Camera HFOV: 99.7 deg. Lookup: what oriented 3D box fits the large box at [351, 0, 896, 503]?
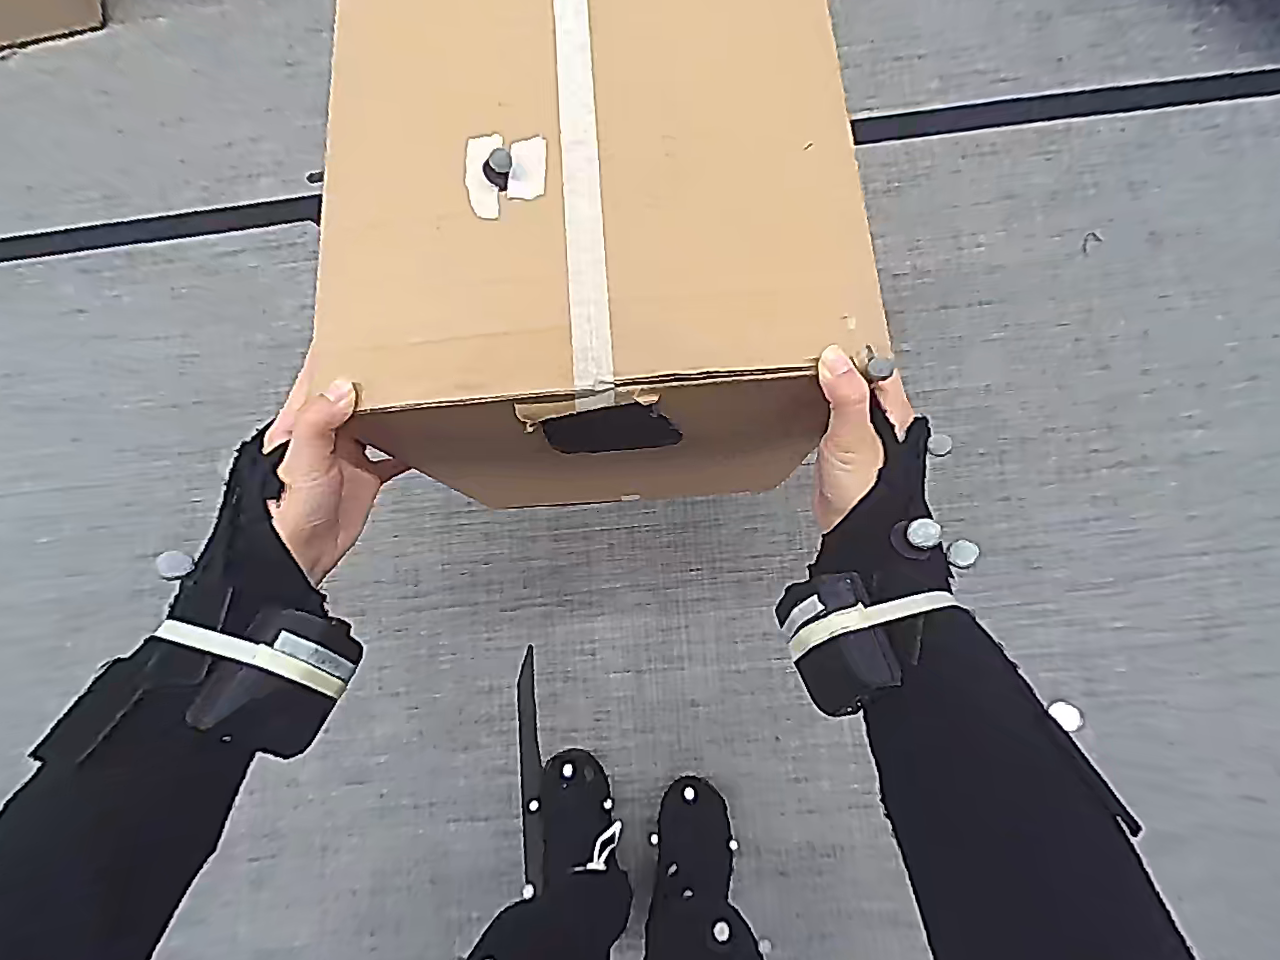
[{"bbox_3d":[-0.024,-0.212,0.486,0.320,0.320,0.408,-6,77,3],"label":"large box"}]
